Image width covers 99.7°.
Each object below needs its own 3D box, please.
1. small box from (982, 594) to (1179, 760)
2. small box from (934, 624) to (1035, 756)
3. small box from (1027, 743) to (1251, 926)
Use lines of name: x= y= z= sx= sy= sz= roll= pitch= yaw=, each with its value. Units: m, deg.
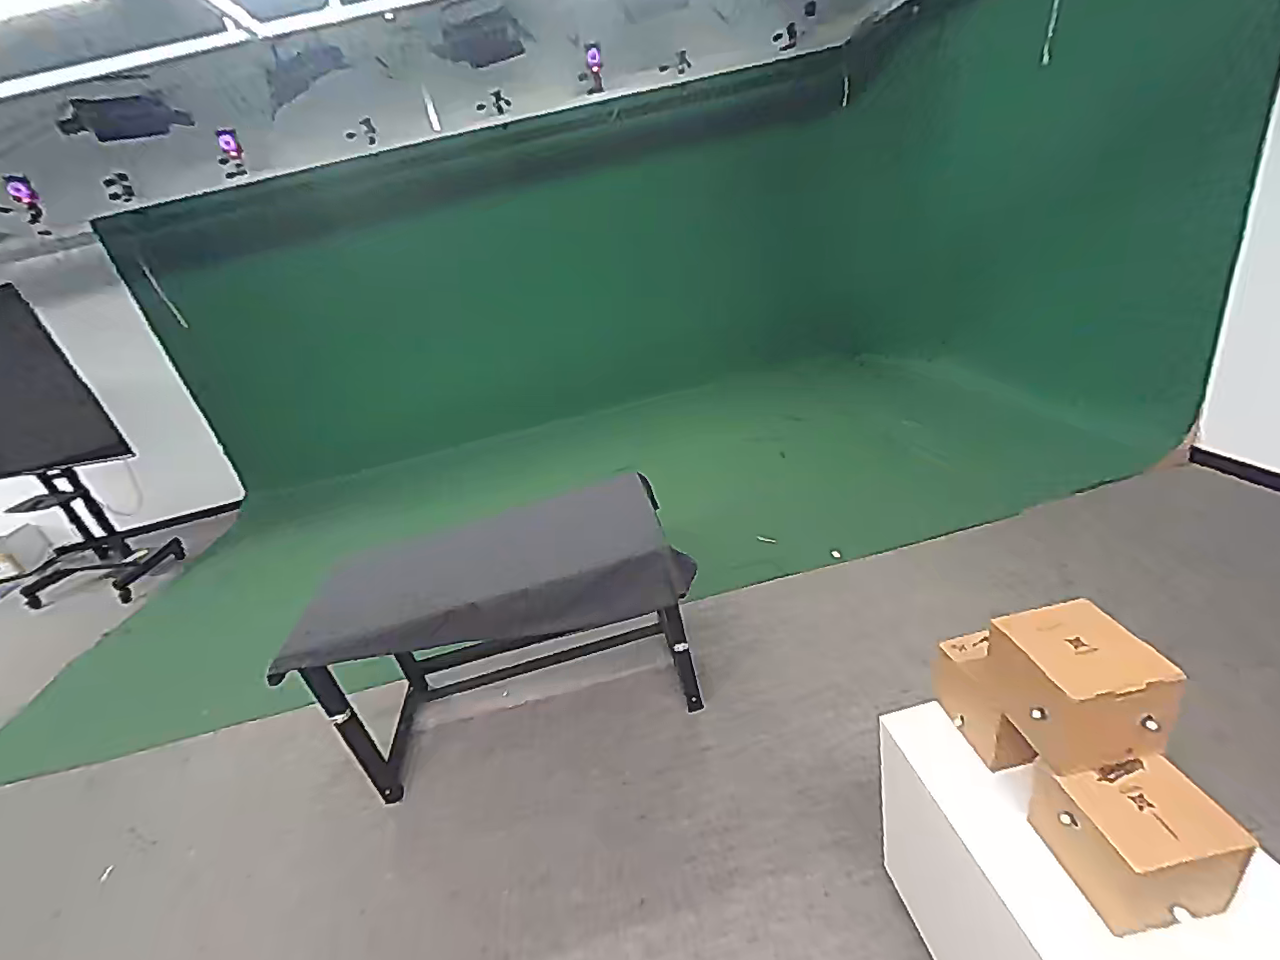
small box: x=0.680 y=0.315 z=0.860 sx=0.168 sy=0.176 sz=0.179 roll=-13 pitch=25 yaw=0
small box: x=0.697 y=0.403 z=1.045 sx=0.168 sy=0.176 sz=0.179 roll=-14 pitch=28 yaw=-2
small box: x=0.722 y=0.514 z=0.811 sx=0.168 sy=0.176 sz=0.179 roll=-14 pitch=27 yaw=1
